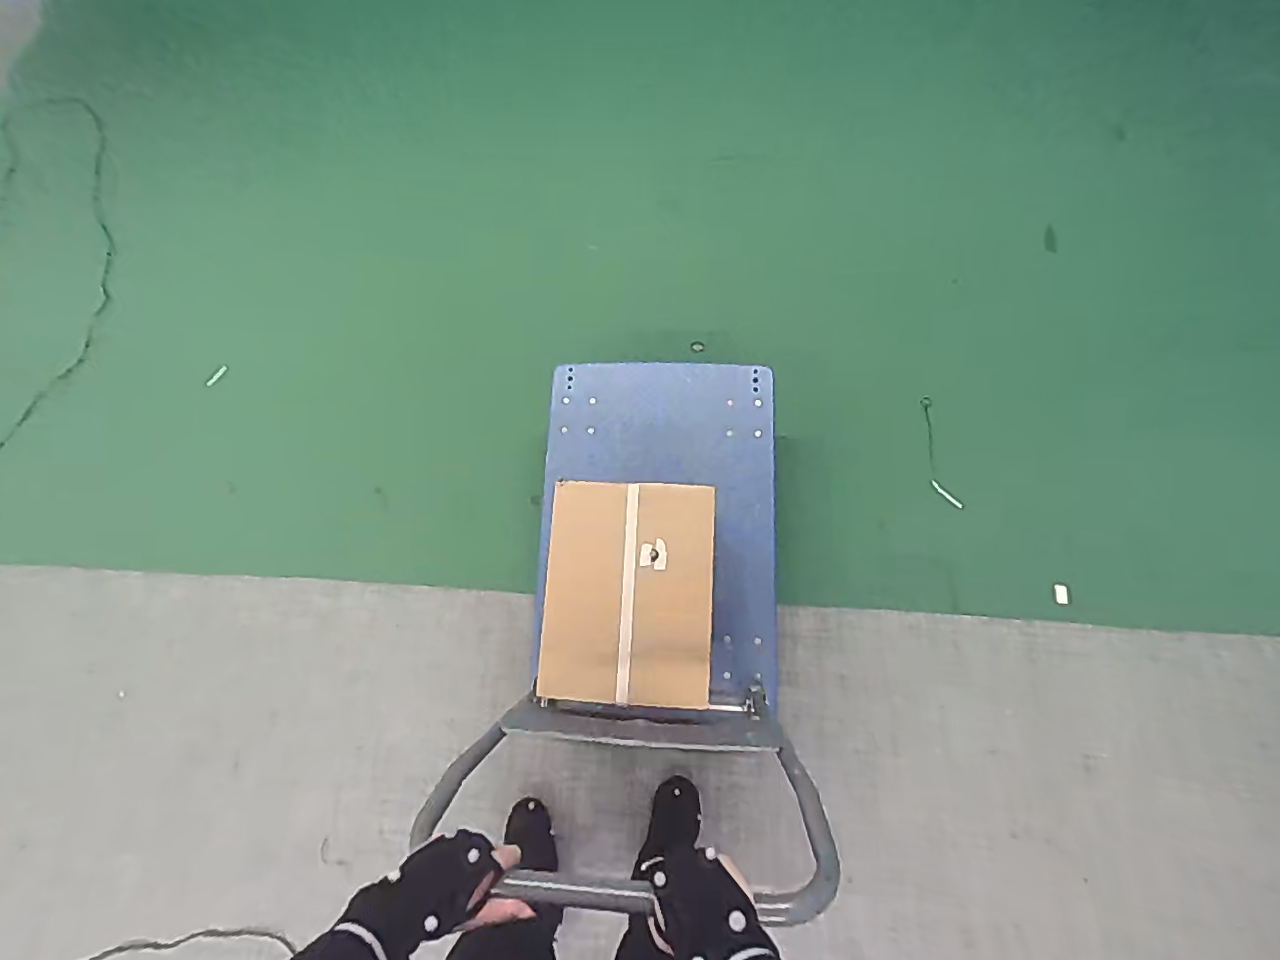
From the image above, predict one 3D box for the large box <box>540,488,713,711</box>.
[{"bbox_3d":[-0.009,0.246,1.153,0.320,0.320,0.408,2,78,5],"label":"large box"}]
